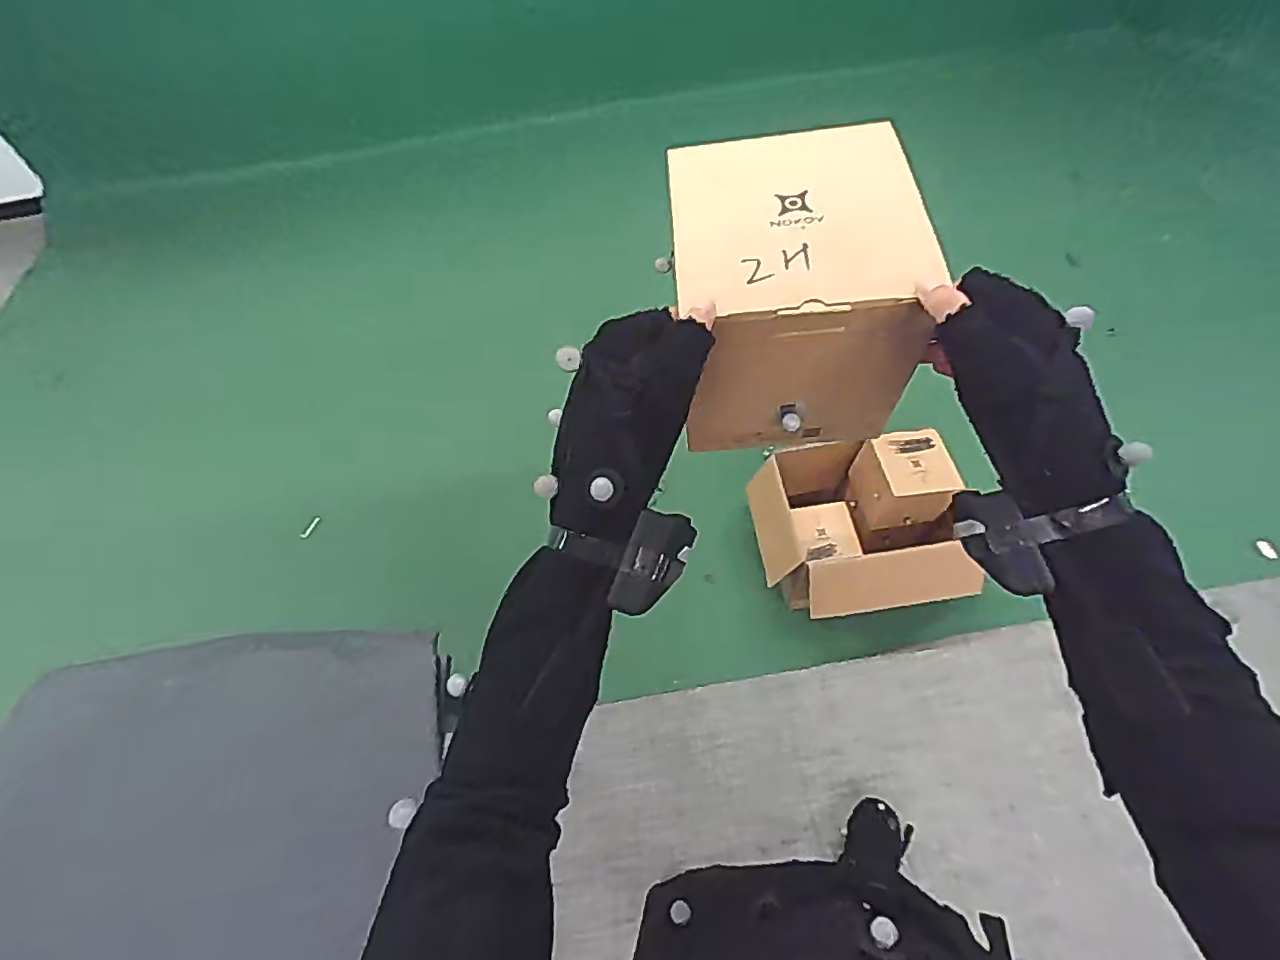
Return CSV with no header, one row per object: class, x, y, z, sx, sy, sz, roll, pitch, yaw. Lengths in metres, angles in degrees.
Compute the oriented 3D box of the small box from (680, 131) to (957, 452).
small box,0.120,-0.142,0.442,0.168,0.176,0.179,-4,62,7
